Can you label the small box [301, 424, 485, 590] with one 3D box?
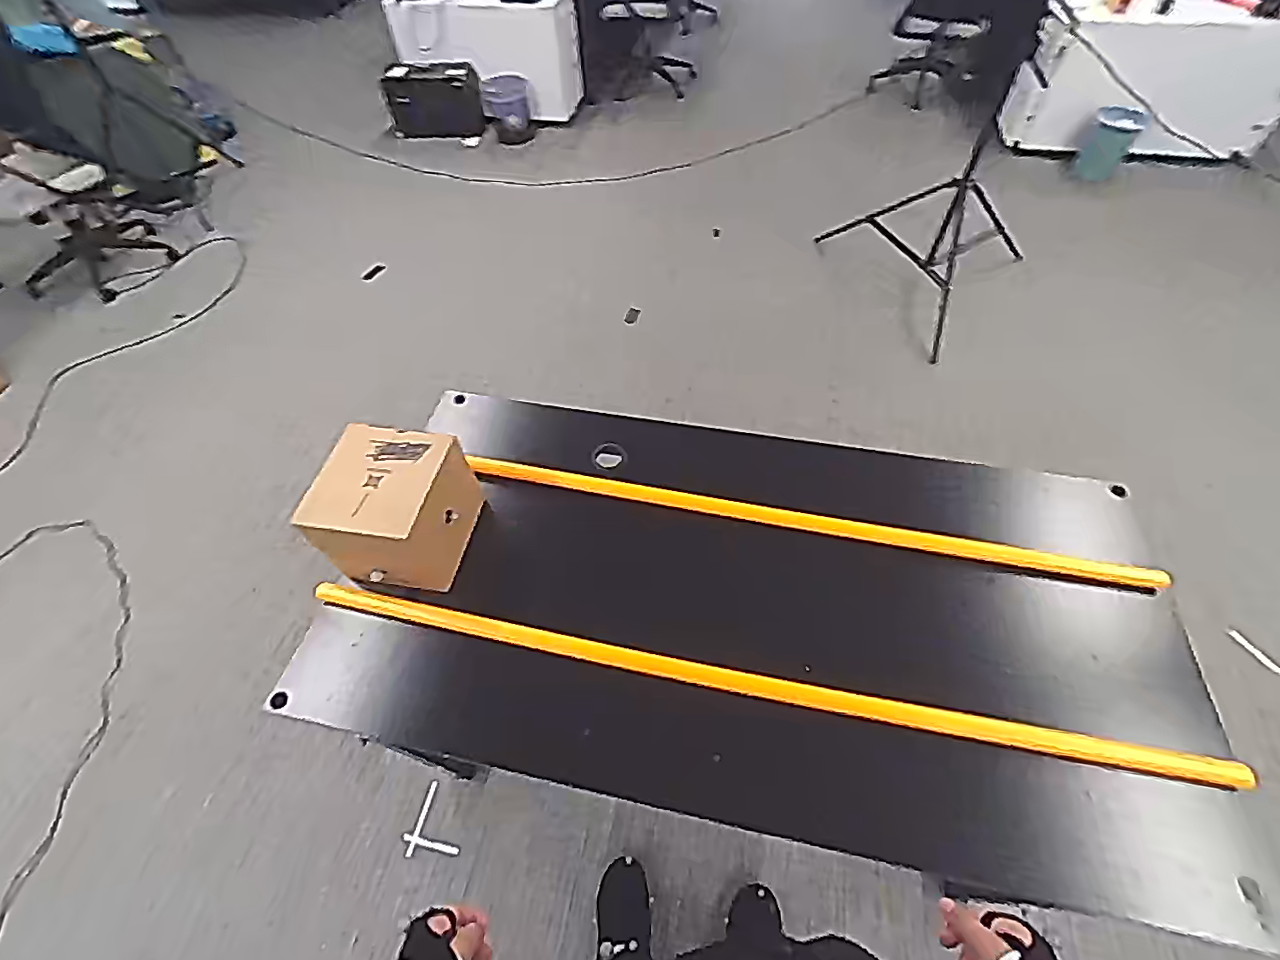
[{"bbox_3d":[-0.349,0.042,0.810,0.168,0.176,0.179,7,56,7],"label":"small box"}]
